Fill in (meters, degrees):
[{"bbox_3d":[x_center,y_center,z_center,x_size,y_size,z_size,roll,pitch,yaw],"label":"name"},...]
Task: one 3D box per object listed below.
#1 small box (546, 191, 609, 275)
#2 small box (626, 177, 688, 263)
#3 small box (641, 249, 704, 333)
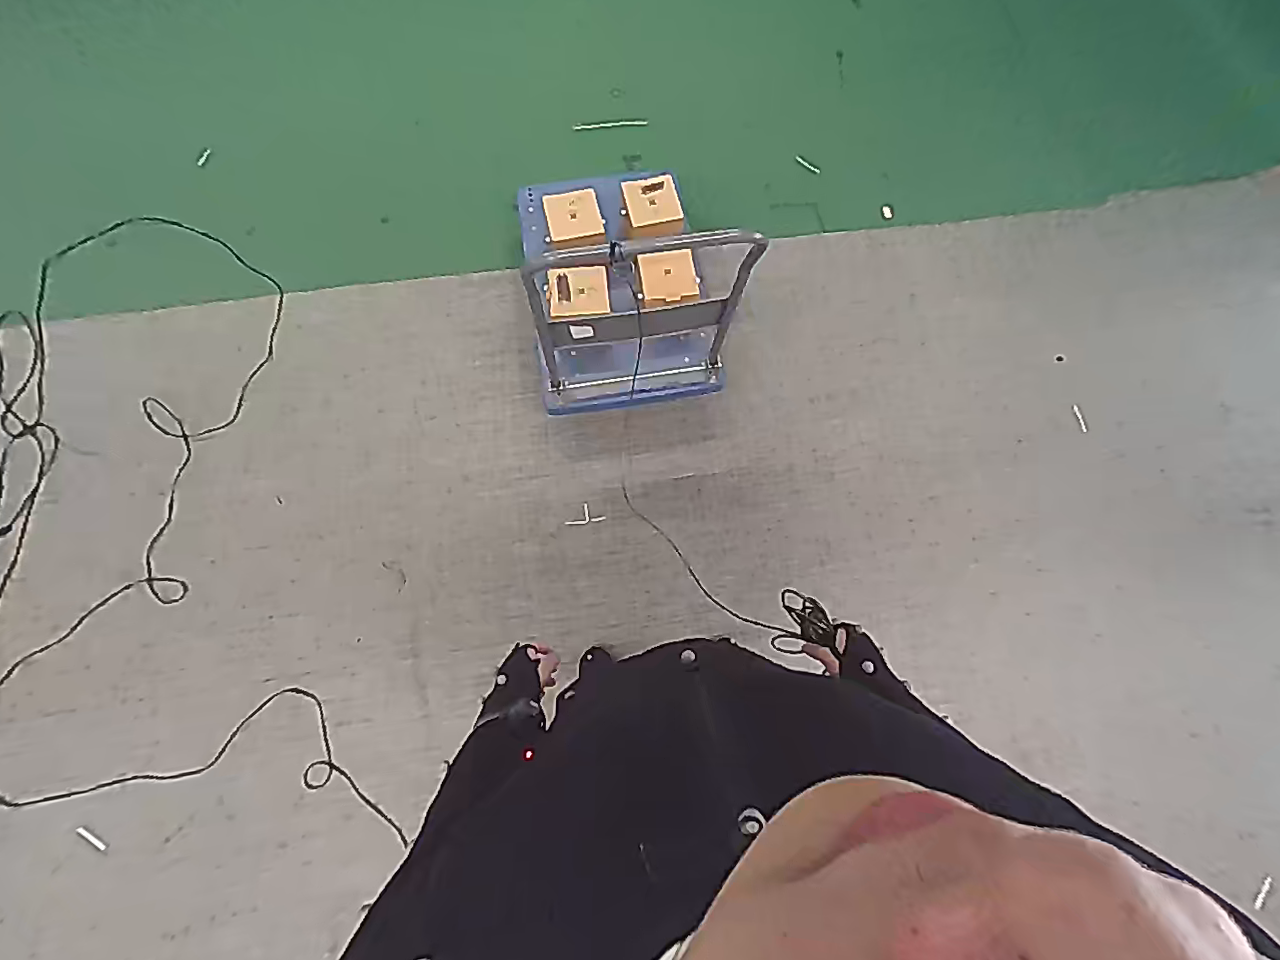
[{"bbox_3d":[-0.195,-0.781,1.730,0.168,0.176,0.179,-12,73,-5],"label":"small box"},{"bbox_3d":[0.050,-0.837,1.750,0.168,0.176,0.179,-13,75,-4],"label":"small box"},{"bbox_3d":[0.094,-0.581,1.673,0.168,0.176,0.179,-8,74,-3],"label":"small box"}]
